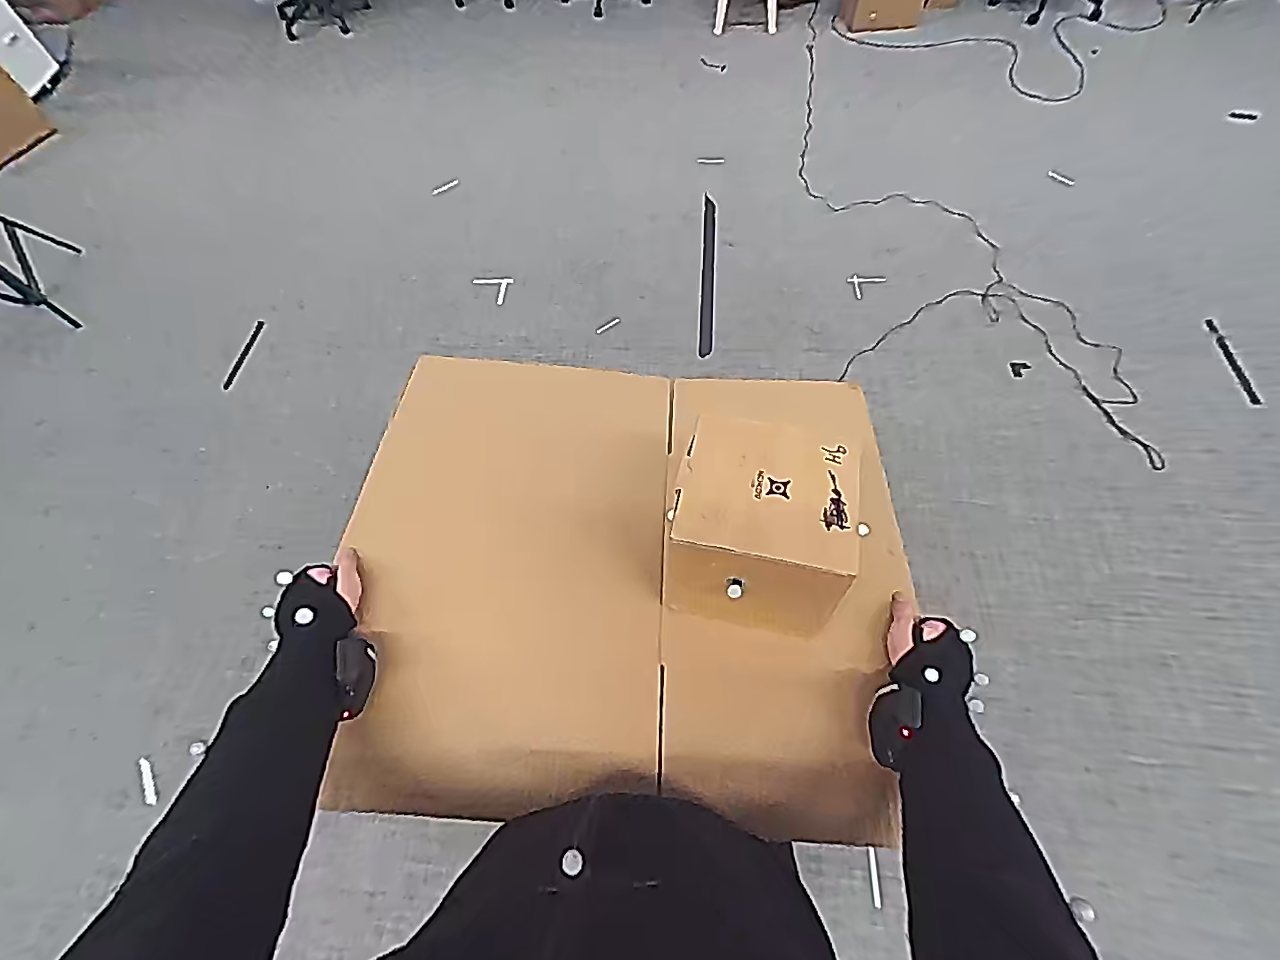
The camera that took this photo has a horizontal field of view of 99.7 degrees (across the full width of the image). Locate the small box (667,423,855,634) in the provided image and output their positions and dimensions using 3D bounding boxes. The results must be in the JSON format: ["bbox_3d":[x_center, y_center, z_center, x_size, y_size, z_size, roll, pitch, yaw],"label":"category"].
[{"bbox_3d":[0.133,0.059,0.616,0.179,0.176,0.168,9,56,10],"label":"small box"}]
